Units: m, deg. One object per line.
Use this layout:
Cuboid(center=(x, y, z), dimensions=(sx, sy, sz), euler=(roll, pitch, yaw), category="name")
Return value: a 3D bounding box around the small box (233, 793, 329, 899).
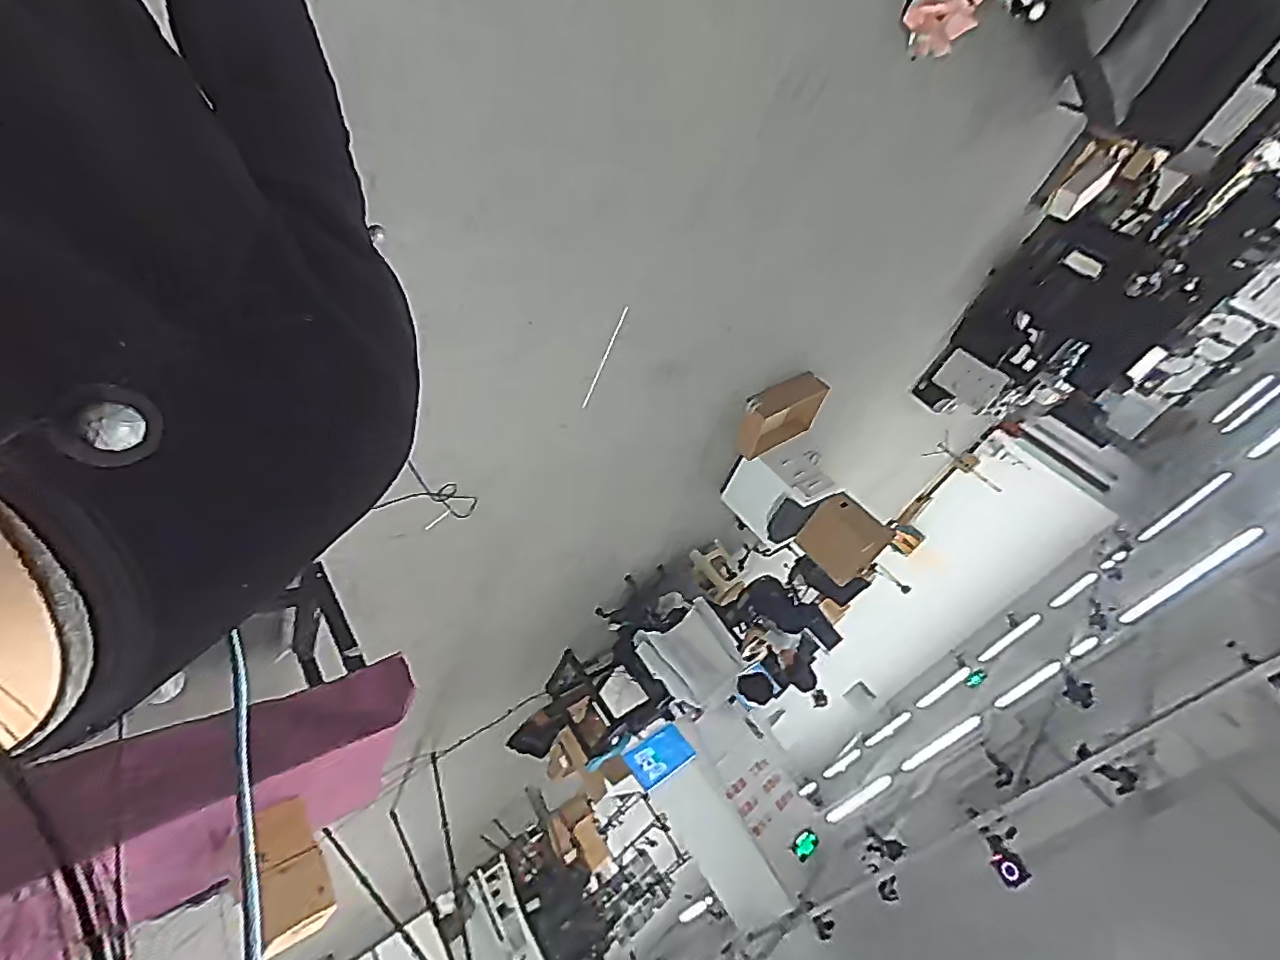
Cuboid(center=(-1.061, 1.068, 1.594), dimensions=(0.179, 0.176, 0.168), euler=(3, 129, -53), category="small box")
